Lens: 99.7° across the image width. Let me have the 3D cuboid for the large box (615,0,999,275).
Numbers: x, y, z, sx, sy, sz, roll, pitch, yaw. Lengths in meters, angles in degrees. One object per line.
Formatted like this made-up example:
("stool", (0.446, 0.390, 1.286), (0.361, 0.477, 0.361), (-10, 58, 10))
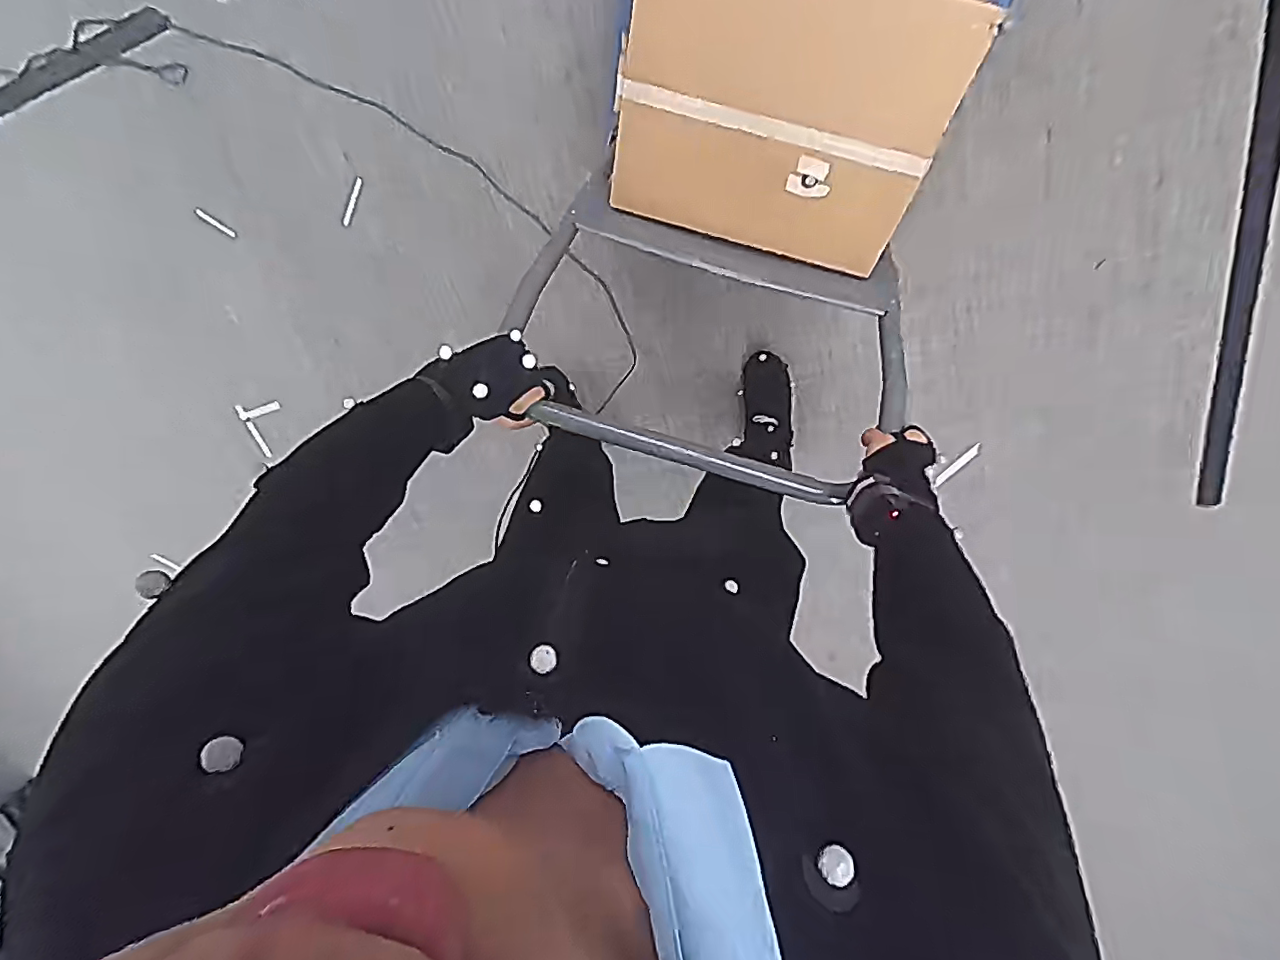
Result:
("large box", (0.205, -0.562, 0.800), (0.408, 0.320, 0.320), (16, 139, 0))
